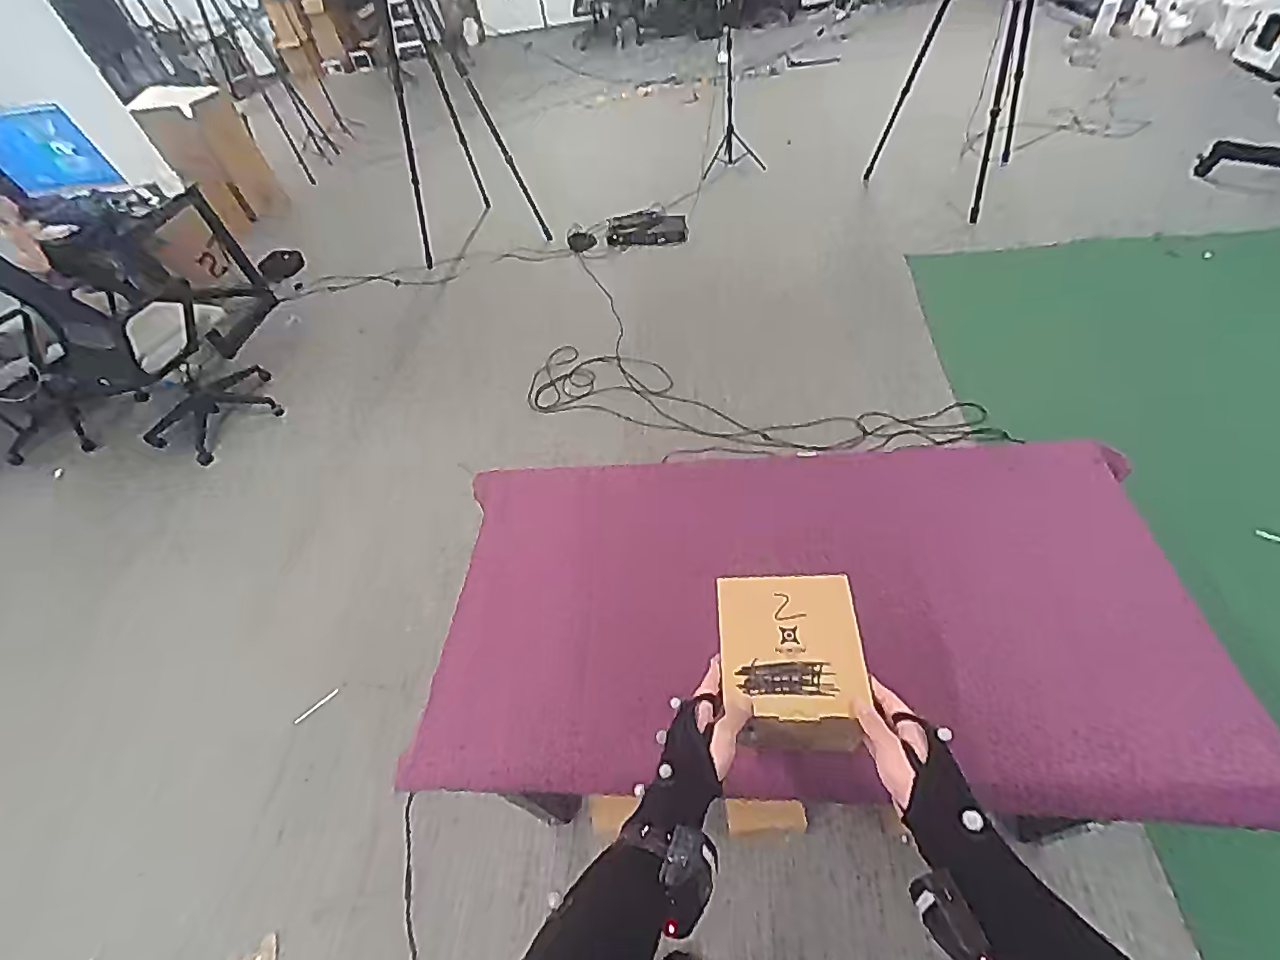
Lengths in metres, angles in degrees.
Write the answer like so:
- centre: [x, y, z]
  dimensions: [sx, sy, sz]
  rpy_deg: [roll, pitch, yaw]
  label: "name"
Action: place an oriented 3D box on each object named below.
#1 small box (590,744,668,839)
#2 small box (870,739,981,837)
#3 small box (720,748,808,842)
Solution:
- centre: [-0.025, 0.775, 1.338]
  dimensions: [0.168, 0.176, 0.179]
  rpy_deg: [-8, 49, 3]
  label: "small box"
- centre: [0.655, 0.721, 1.261]
  dimensions: [0.168, 0.176, 0.179]
  rpy_deg: [-4, 49, 6]
  label: "small box"
- centre: [0.290, 0.758, 1.297]
  dimensions: [0.179, 0.176, 0.168]
  rpy_deg: [-8, 48, 5]
  label: "small box"
